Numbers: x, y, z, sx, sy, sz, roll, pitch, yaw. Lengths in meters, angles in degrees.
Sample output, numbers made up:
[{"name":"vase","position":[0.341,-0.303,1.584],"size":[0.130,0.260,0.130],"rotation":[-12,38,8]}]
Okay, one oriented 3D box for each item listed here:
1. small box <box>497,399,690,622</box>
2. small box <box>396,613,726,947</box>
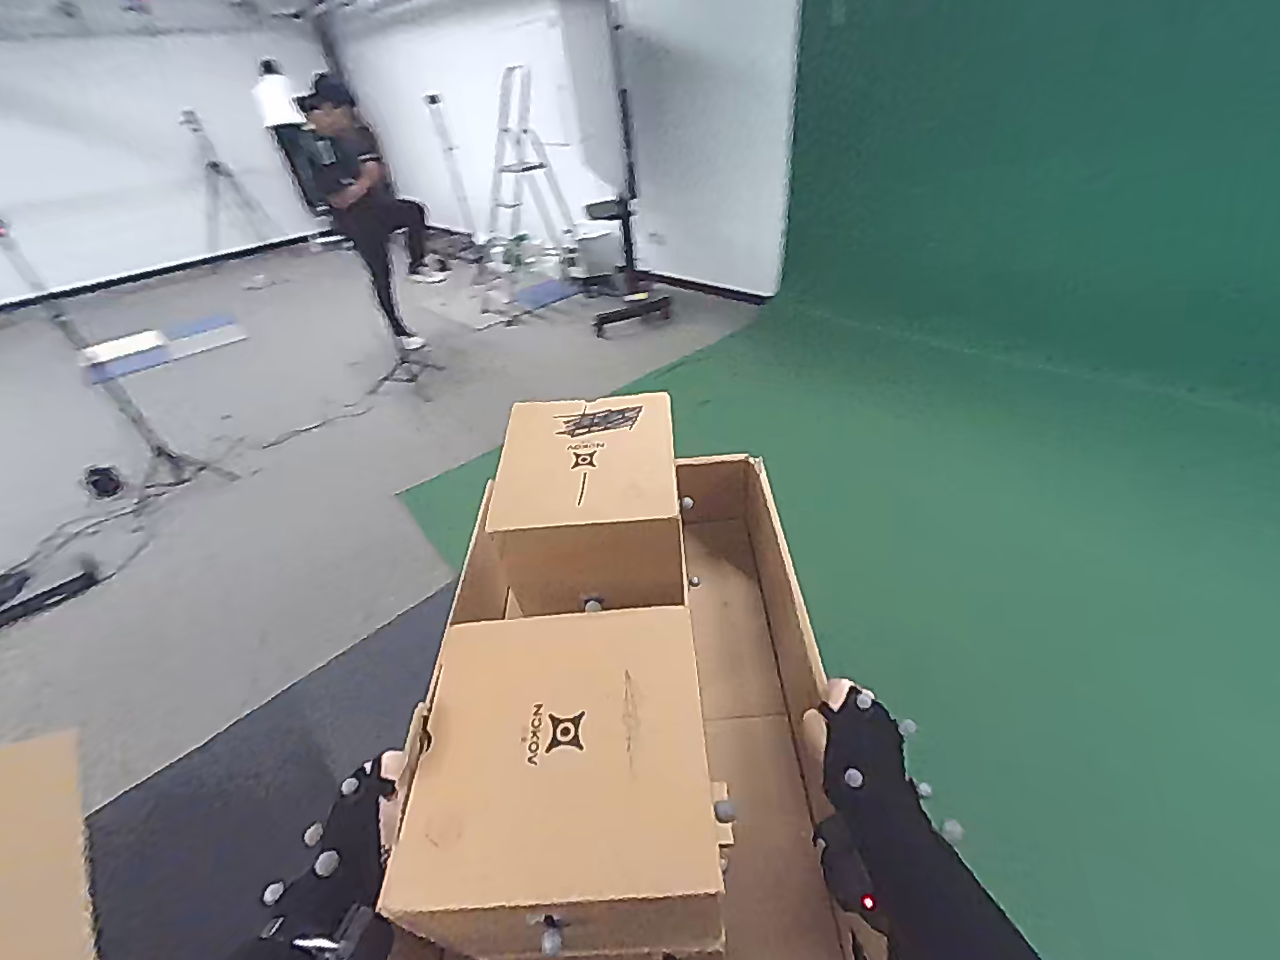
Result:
[{"name":"small box","position":[-0.034,0.036,0.567],"size":[0.168,0.176,0.179],"rotation":[-3,47,4]},{"name":"small box","position":[-0.035,0.215,0.386],"size":[0.179,0.176,0.168],"rotation":[-4,44,2]}]
